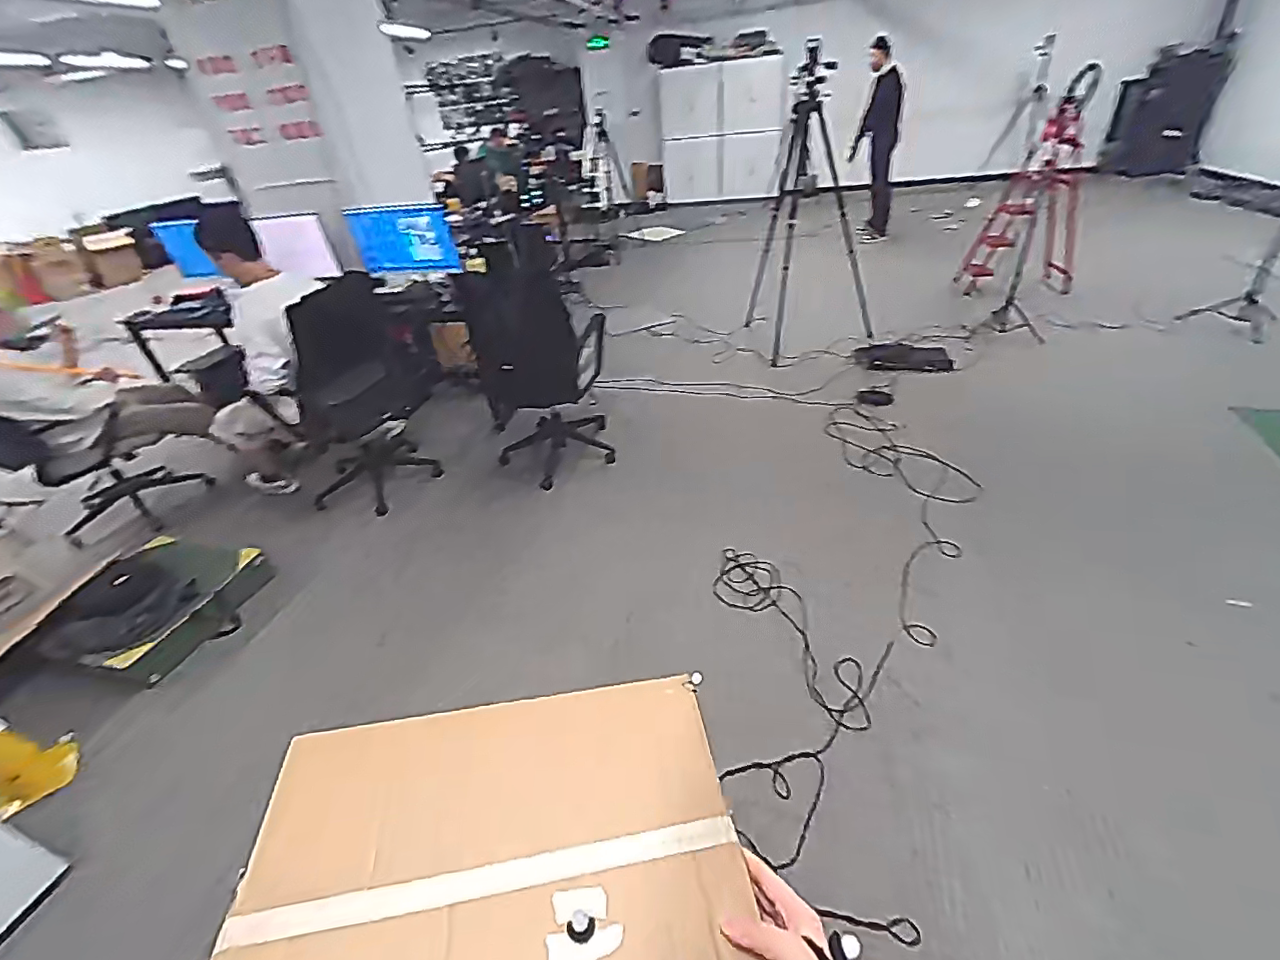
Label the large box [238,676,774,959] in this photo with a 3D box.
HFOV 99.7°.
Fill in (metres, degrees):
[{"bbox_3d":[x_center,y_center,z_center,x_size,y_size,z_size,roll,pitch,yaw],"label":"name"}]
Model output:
[{"bbox_3d":[-0.115,0.446,0.543,0.408,0.320,0.320,-5,38,-9],"label":"large box"}]
